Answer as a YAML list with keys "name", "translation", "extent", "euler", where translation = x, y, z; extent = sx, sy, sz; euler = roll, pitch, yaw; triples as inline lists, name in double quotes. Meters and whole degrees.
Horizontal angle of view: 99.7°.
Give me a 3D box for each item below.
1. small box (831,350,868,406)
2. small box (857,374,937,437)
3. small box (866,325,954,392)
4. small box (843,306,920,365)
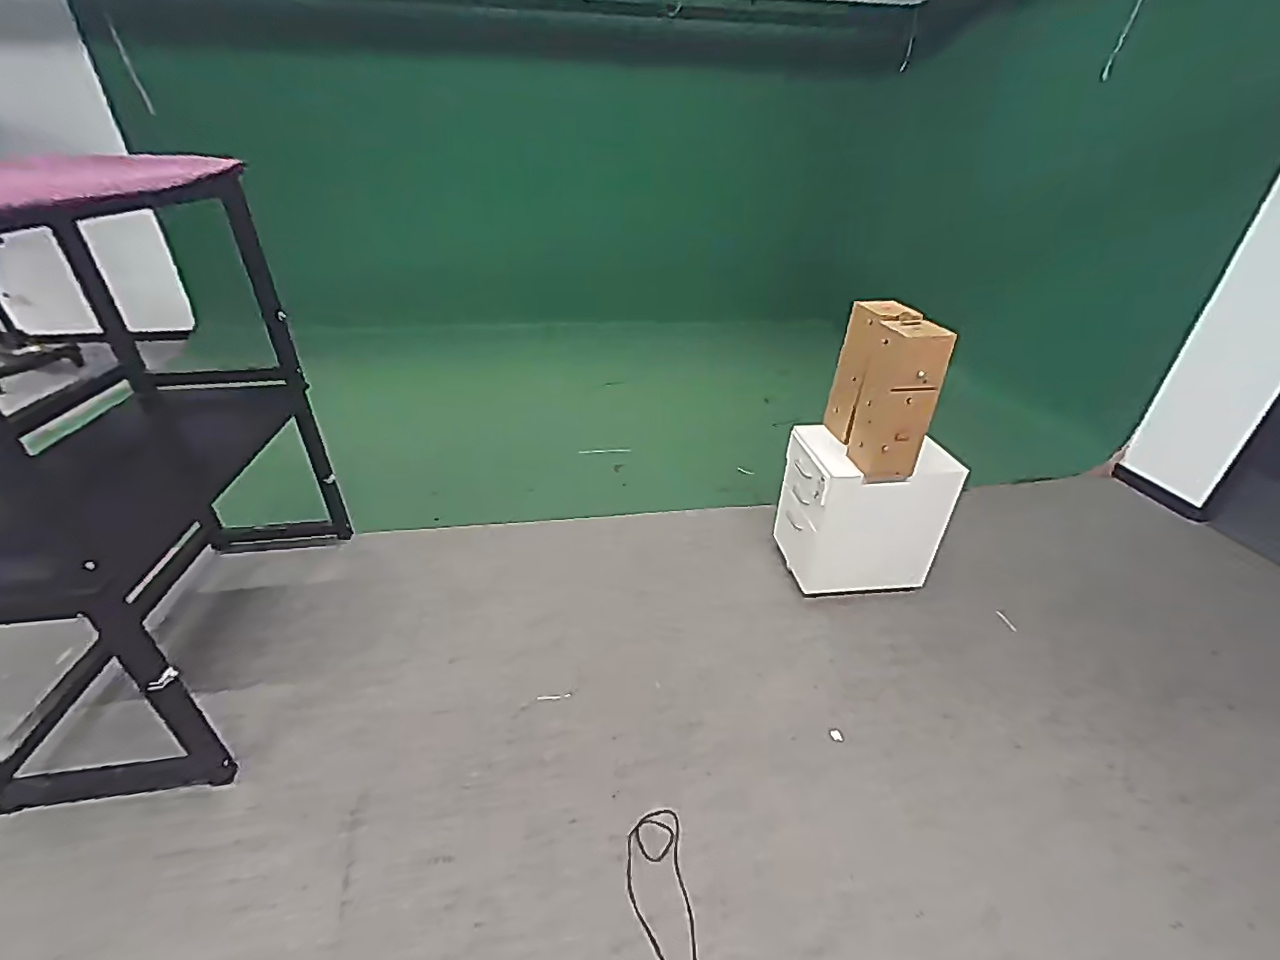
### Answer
- name: "small box"
  translation: [0.843, -0.379, 2.020]
  extent: [0.168, 0.176, 0.179]
  euler: [-4, 33, -12]
- name: "small box"
  translation: [0.846, -0.249, 1.807]
  extent: [0.179, 0.176, 0.168]
  euler: [-2, 31, -7]
- name: "small box"
  translation: [0.846, -0.387, 1.717]
  extent: [0.168, 0.176, 0.179]
  euler: [-3, 31, -7]
- name: "small box"
  translation: [0.854, -0.517, 1.933]
  extent: [0.168, 0.176, 0.179]
  euler: [-5, 34, -11]
